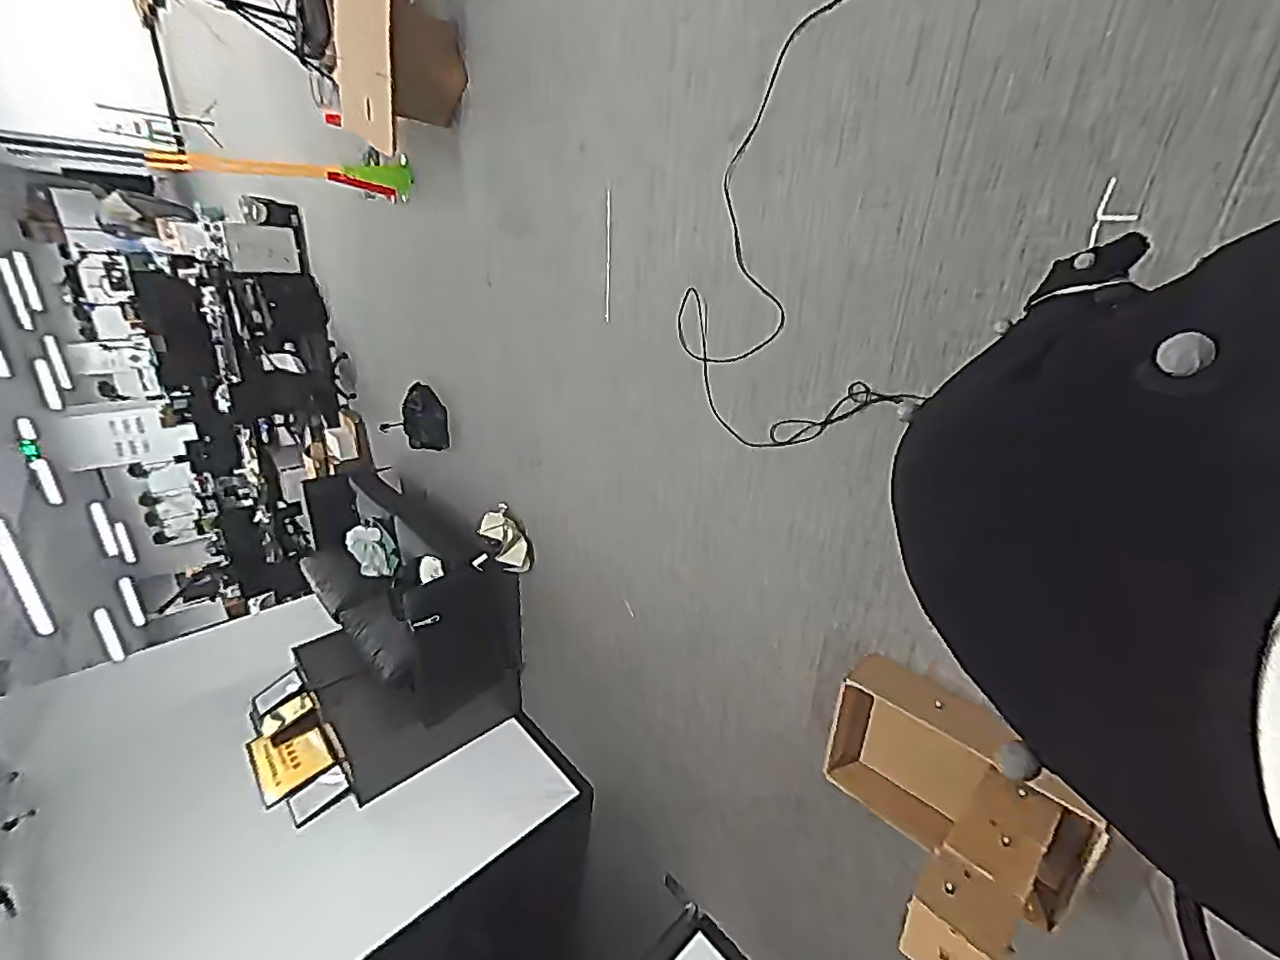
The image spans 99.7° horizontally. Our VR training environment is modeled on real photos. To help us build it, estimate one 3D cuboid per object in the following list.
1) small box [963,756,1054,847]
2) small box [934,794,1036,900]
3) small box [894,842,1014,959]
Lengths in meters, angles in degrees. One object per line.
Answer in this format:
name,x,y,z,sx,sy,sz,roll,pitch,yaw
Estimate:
small box,0.924,0.859,1.384,0.168,0.176,0.179,25,123,41
small box,0.804,0.902,1.282,0.168,0.176,0.179,24,122,42
small box,0.686,0.949,1.180,0.168,0.176,0.179,23,121,44
